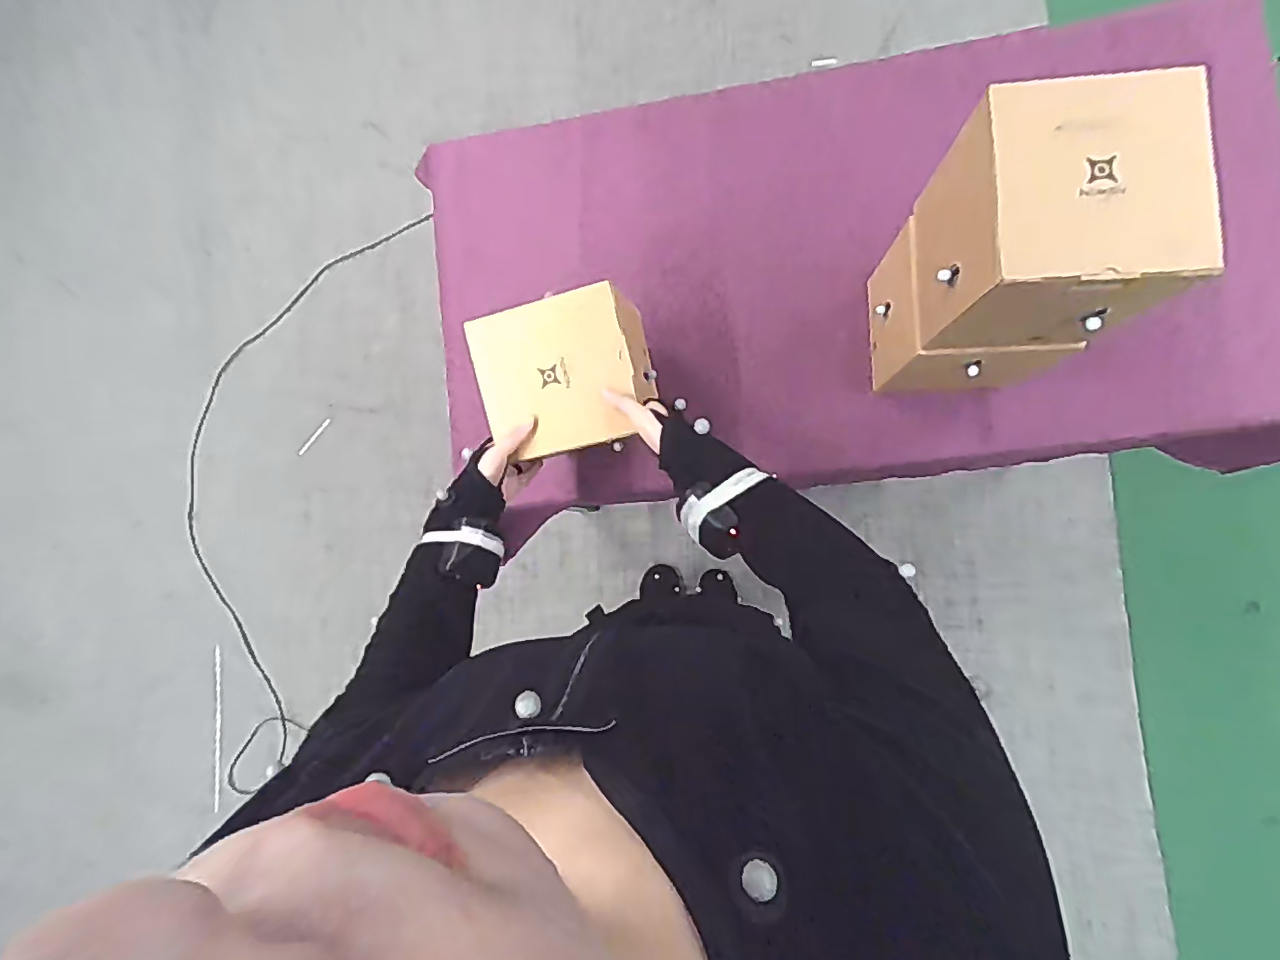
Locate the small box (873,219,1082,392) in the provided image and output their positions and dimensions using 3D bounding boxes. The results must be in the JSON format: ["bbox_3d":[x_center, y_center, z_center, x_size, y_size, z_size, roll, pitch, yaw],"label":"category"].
[{"bbox_3d":[0.400,-0.210,0.677,0.179,0.176,0.168,0,85,7],"label":"small box"}]

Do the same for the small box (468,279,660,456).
[{"bbox_3d":[-0.083,-0.127,0.681,0.179,0.176,0.168,-12,92,10],"label":"small box"}]

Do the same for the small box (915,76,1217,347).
[{"bbox_3d":[0.380,-0.233,0.516,0.168,0.176,0.179,1,84,7],"label":"small box"}]
